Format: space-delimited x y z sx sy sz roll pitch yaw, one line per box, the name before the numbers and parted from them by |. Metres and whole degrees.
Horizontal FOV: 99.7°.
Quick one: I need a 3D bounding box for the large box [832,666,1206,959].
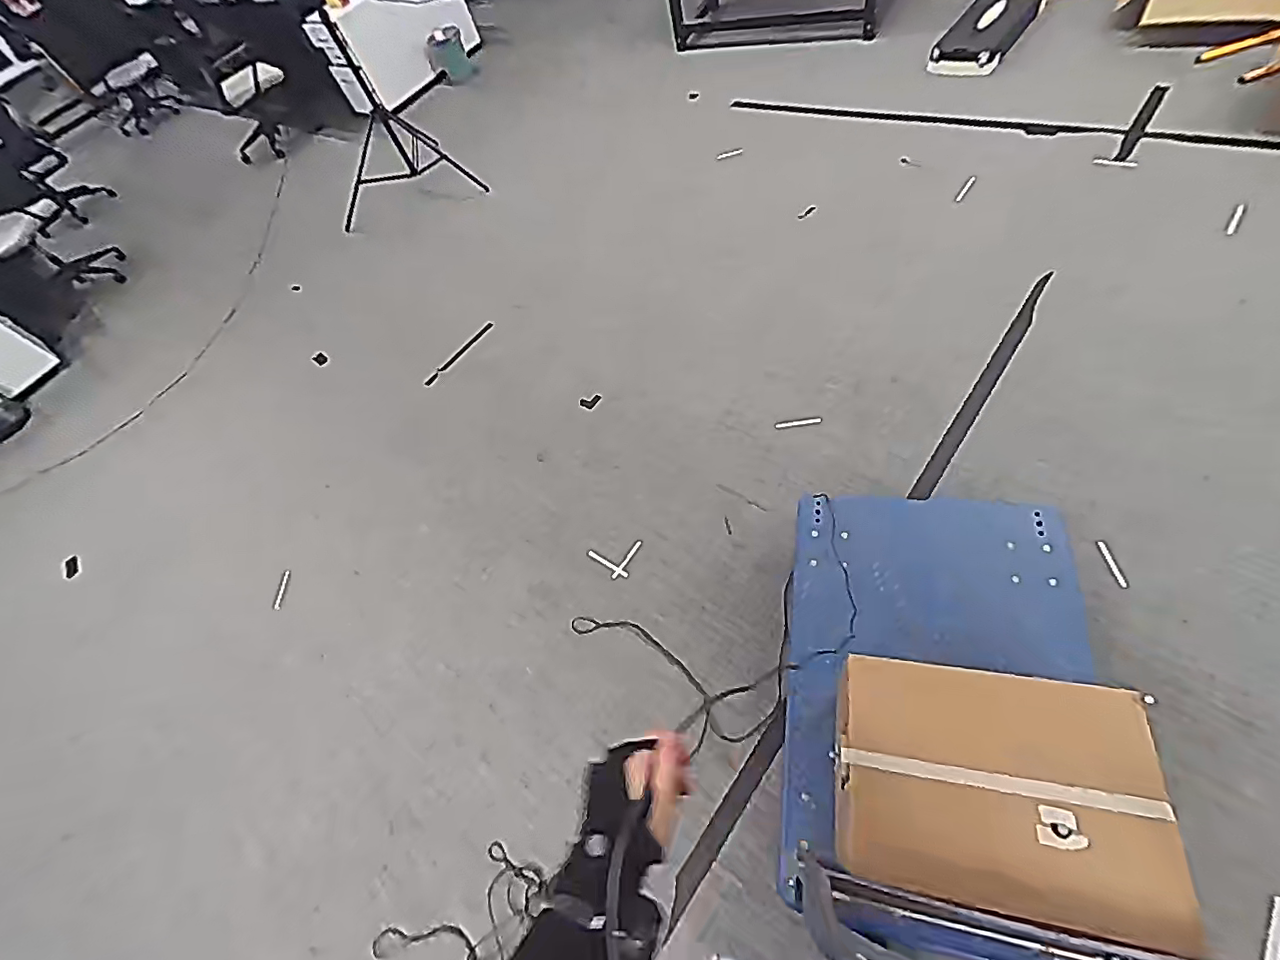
large box | 0.538 0.525 0.888 0.408 0.320 0.320 3 59 17
